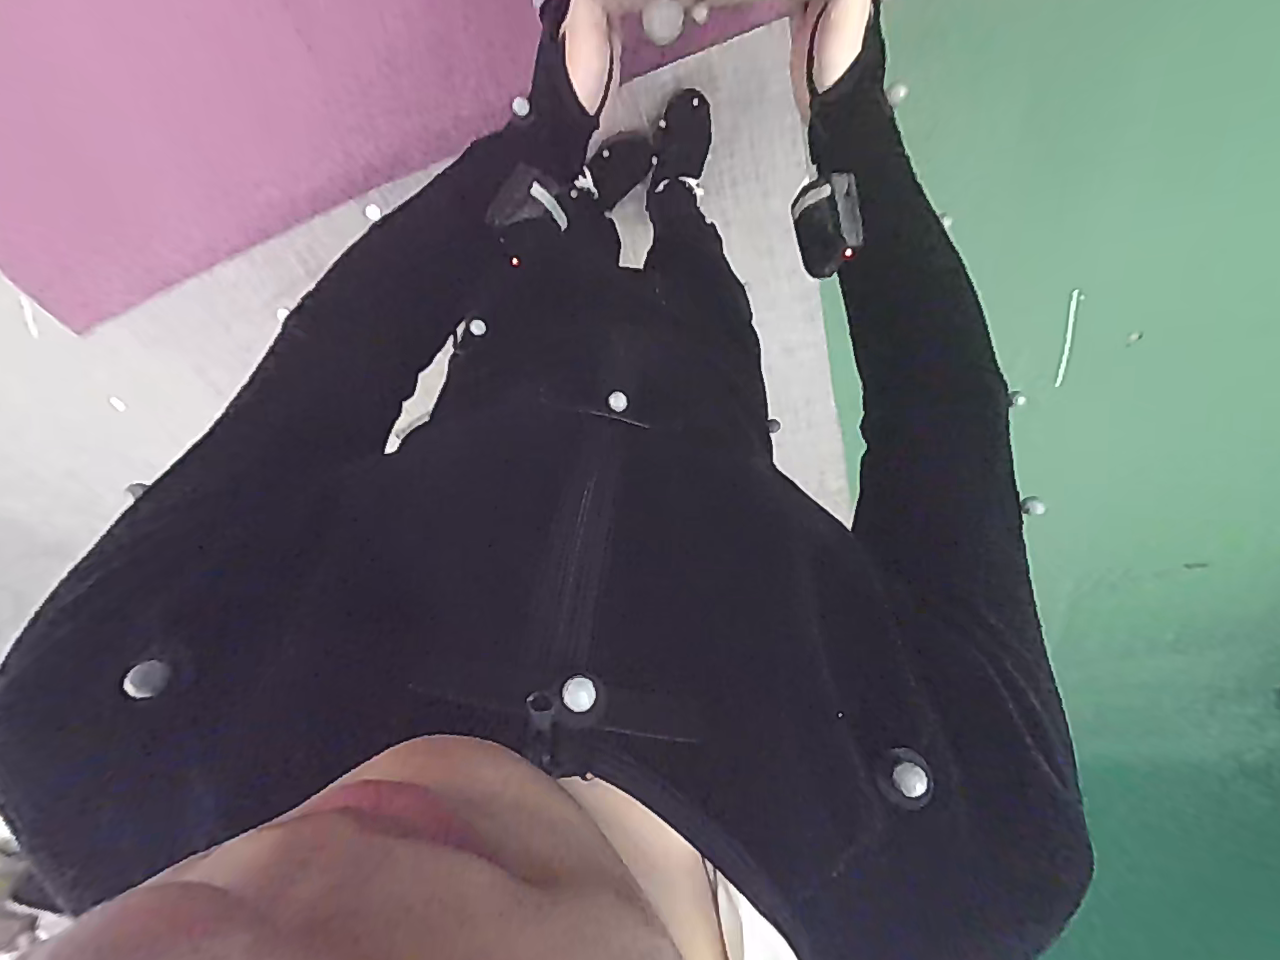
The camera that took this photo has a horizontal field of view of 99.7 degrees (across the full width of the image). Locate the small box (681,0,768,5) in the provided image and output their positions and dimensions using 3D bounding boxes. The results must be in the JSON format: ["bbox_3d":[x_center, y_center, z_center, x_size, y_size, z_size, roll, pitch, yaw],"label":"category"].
[{"bbox_3d":[0.048,-0.490,0.420,0.168,0.176,0.179,-1,131,1],"label":"small box"}]
